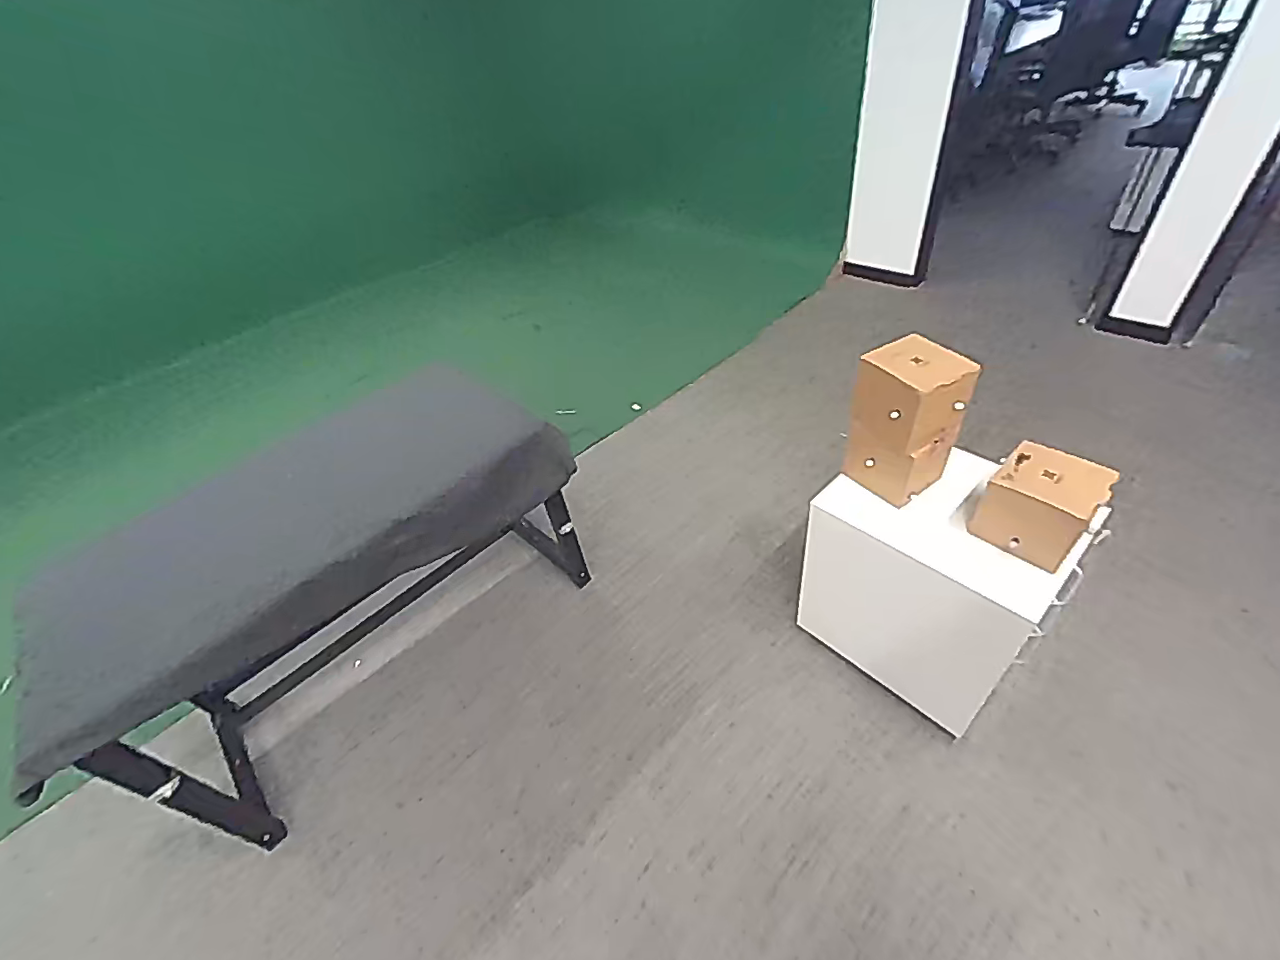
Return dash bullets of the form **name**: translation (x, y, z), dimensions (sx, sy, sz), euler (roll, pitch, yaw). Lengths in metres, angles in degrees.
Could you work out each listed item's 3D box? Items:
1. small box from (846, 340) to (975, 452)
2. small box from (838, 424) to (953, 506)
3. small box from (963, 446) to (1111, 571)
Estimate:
- **small box**: translation (0.589, -0.181, 1.202), dimensions (0.168, 0.176, 0.179), euler (-23, 44, -18)
- **small box**: translation (0.608, -0.060, 1.307), dimensions (0.168, 0.176, 0.179), euler (-29, 46, -22)
- **small box**: translation (0.824, 0.065, 1.137), dimensions (0.168, 0.176, 0.179), euler (-34, 48, -26)
